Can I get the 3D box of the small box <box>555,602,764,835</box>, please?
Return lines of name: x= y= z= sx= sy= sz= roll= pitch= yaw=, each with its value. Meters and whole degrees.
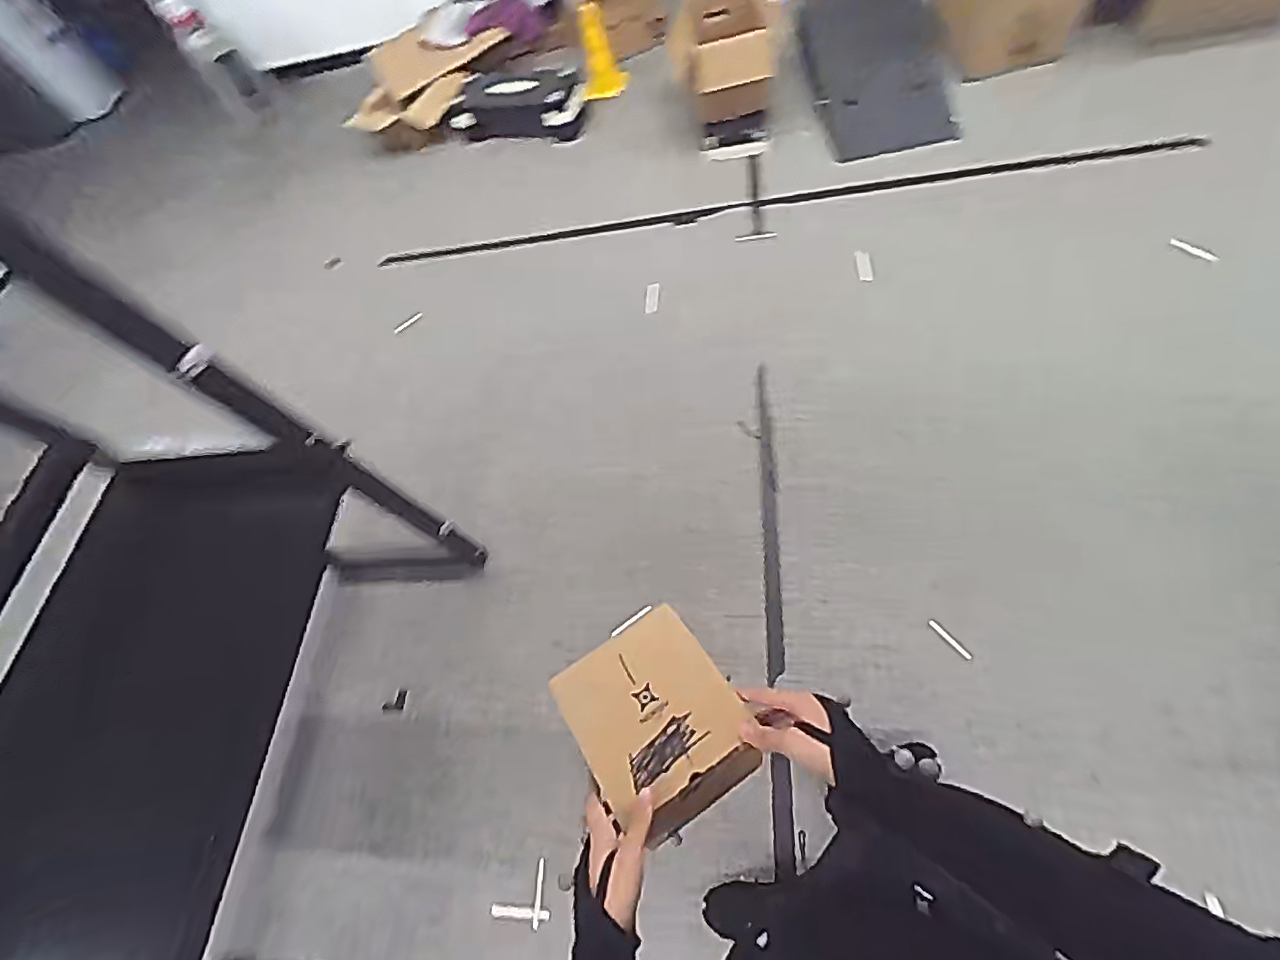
small box: x=0.028 y=0.284 z=0.634 sx=0.168 sy=0.176 sz=0.179 roll=-30 pitch=52 yaw=-13
